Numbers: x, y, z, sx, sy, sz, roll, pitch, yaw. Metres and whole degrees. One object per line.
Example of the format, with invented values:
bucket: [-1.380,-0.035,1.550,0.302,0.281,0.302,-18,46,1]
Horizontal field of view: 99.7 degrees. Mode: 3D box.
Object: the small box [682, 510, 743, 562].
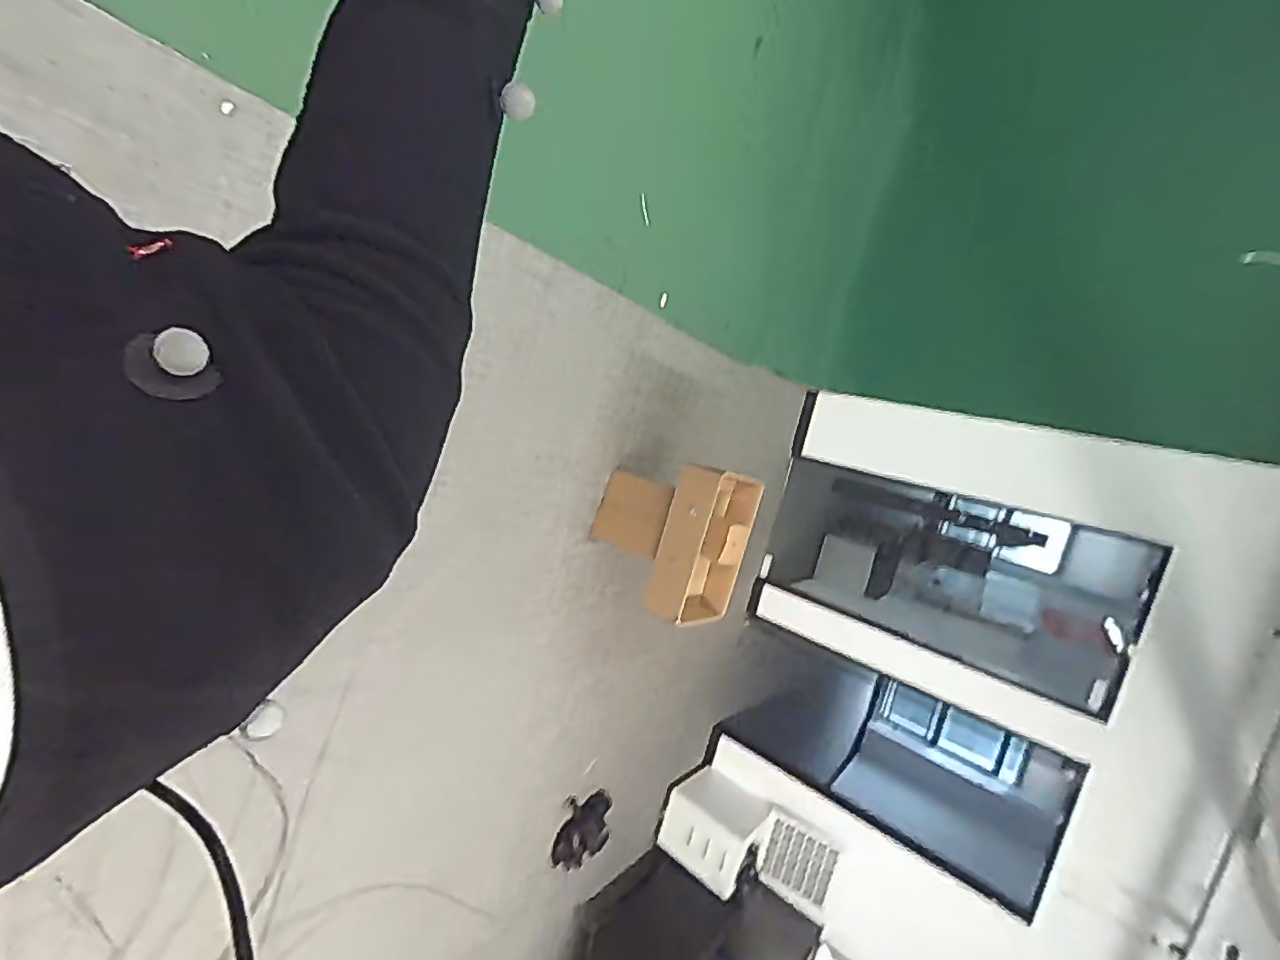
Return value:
small box: [0.296,0.229,2.226,0.179,0.176,0.168,9,100,-56]
